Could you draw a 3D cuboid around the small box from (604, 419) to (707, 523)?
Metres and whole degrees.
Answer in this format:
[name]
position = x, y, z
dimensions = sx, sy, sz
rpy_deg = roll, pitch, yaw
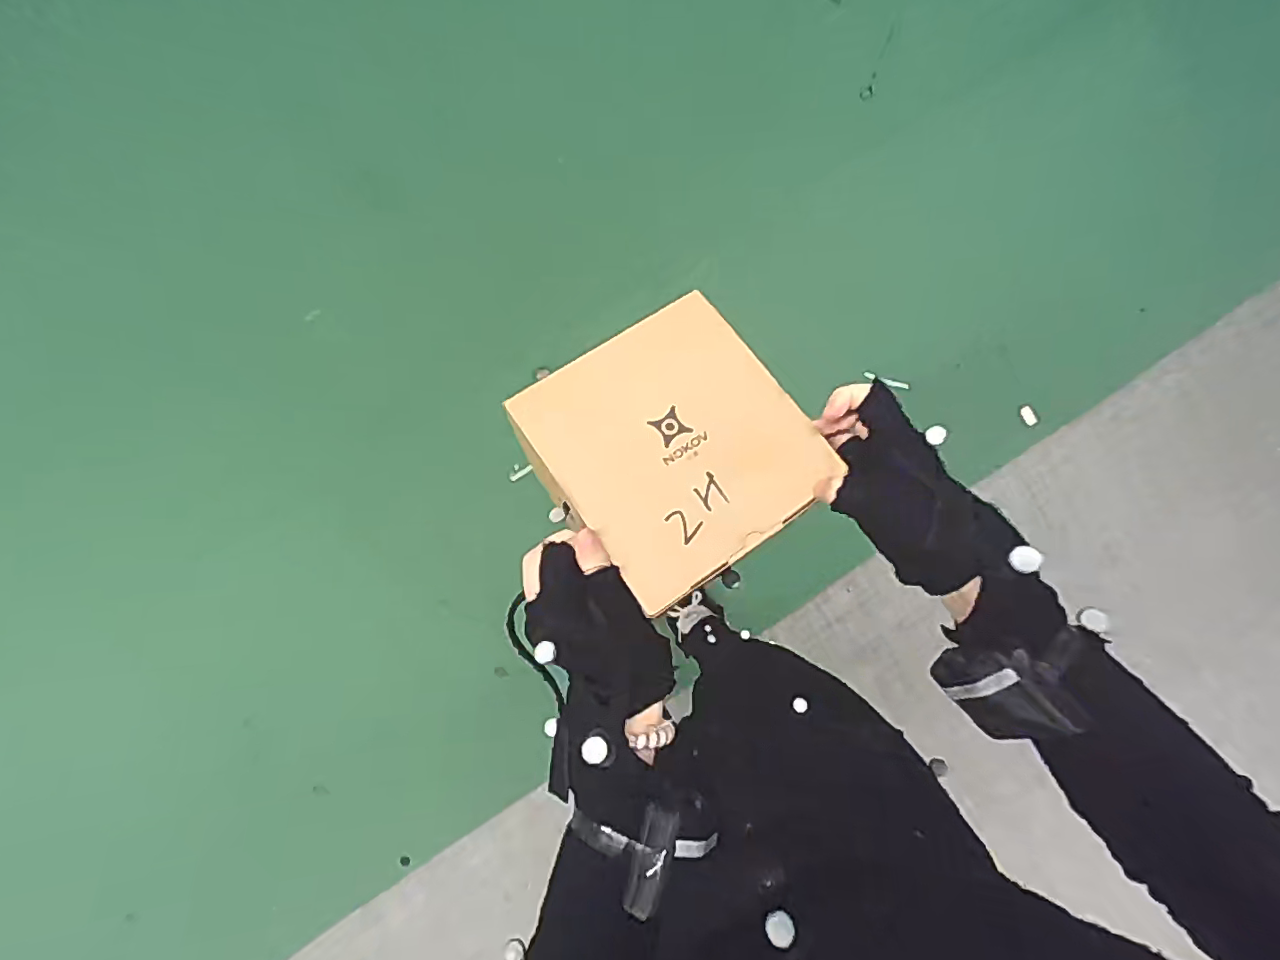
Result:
[small box]
position = 0.032, -0.018, 1.245
dimensions = 0.168, 0.176, 0.179
rpy_deg = -32, 88, -4
